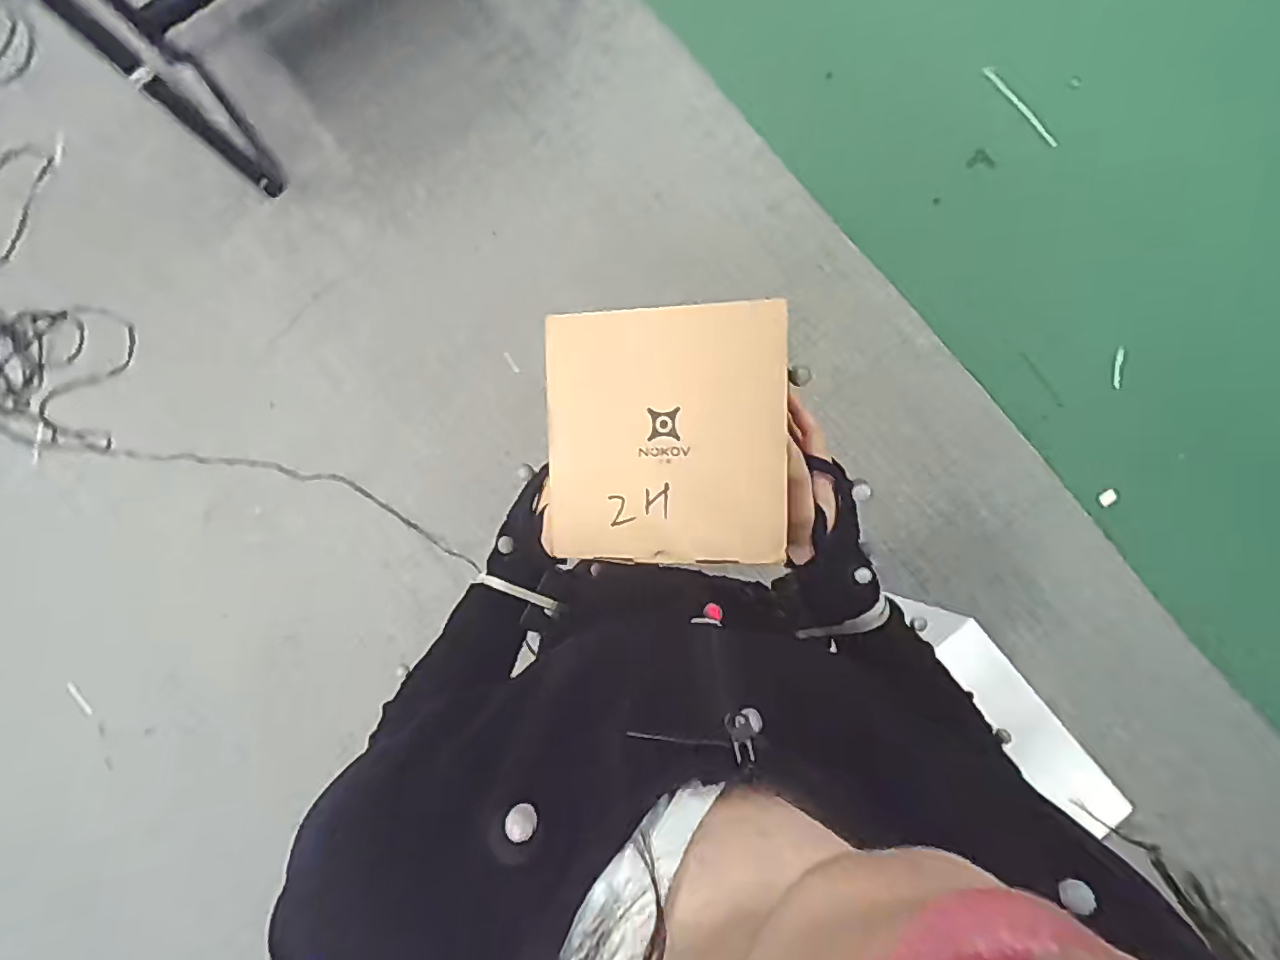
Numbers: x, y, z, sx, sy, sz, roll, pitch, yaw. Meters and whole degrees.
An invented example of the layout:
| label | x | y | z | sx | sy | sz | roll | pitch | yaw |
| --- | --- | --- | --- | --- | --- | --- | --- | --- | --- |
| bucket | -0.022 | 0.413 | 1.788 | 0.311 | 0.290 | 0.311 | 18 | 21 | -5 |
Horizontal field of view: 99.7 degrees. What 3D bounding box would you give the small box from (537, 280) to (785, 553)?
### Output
| label | x | y | z | sx | sy | sz | roll | pitch | yaw |
| --- | --- | --- | --- | --- | --- | --- | --- | --- | --- |
| small box | 0.028 | -0.043 | 0.438 | 0.168 | 0.176 | 0.179 | -2 | 94 | 13 |
